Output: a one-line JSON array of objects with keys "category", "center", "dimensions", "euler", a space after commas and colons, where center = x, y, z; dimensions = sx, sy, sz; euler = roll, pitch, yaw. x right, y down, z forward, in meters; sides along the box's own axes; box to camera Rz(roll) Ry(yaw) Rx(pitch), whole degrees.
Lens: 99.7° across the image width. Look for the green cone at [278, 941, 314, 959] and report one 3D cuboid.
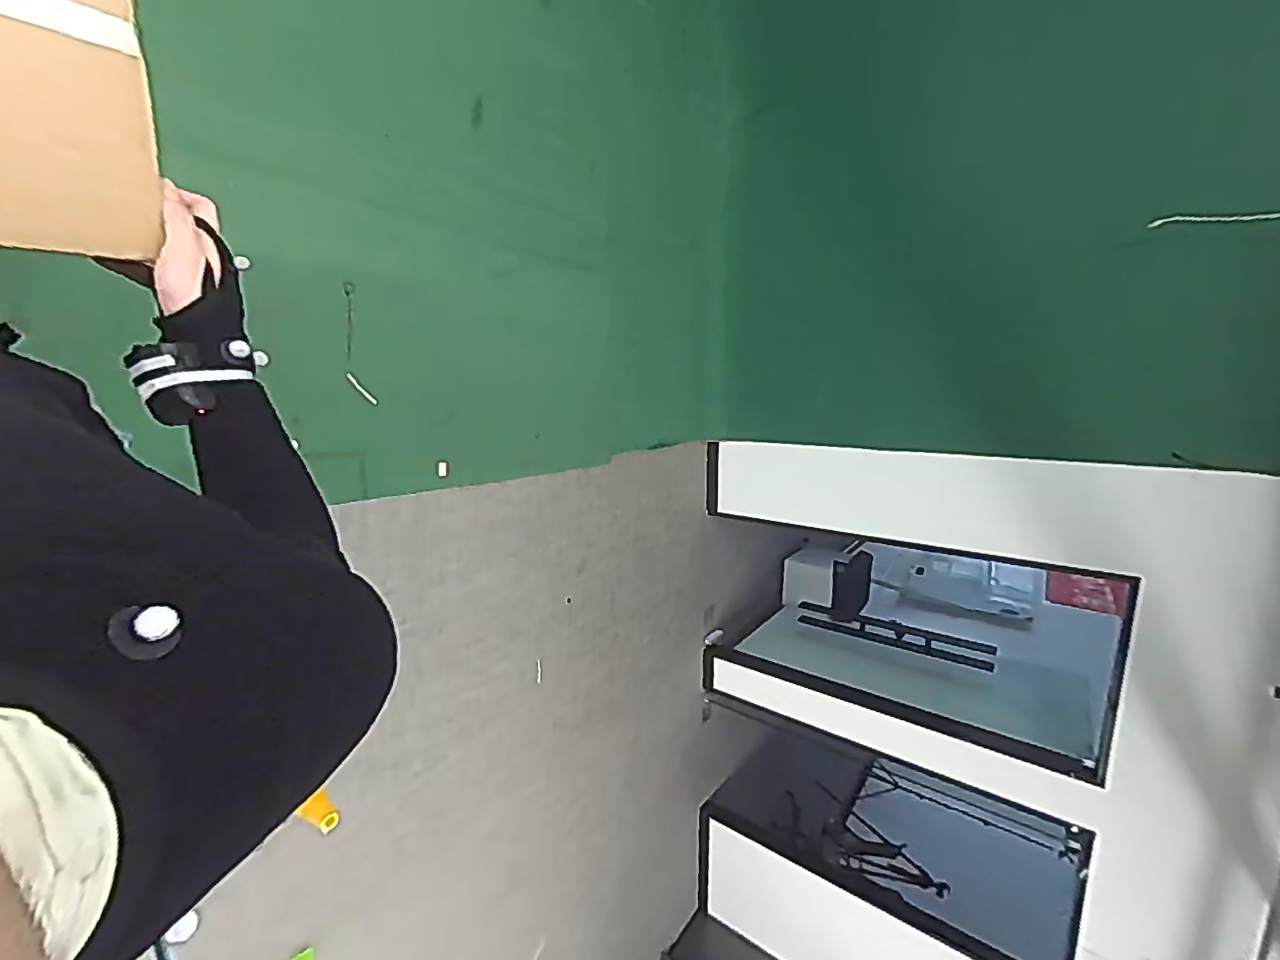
[{"category": "green cone", "center": [-0.960, 1.564, 1.538], "dimensions": [0.200, 0.368, 0.202], "euler": [-3, 97, -54]}]
